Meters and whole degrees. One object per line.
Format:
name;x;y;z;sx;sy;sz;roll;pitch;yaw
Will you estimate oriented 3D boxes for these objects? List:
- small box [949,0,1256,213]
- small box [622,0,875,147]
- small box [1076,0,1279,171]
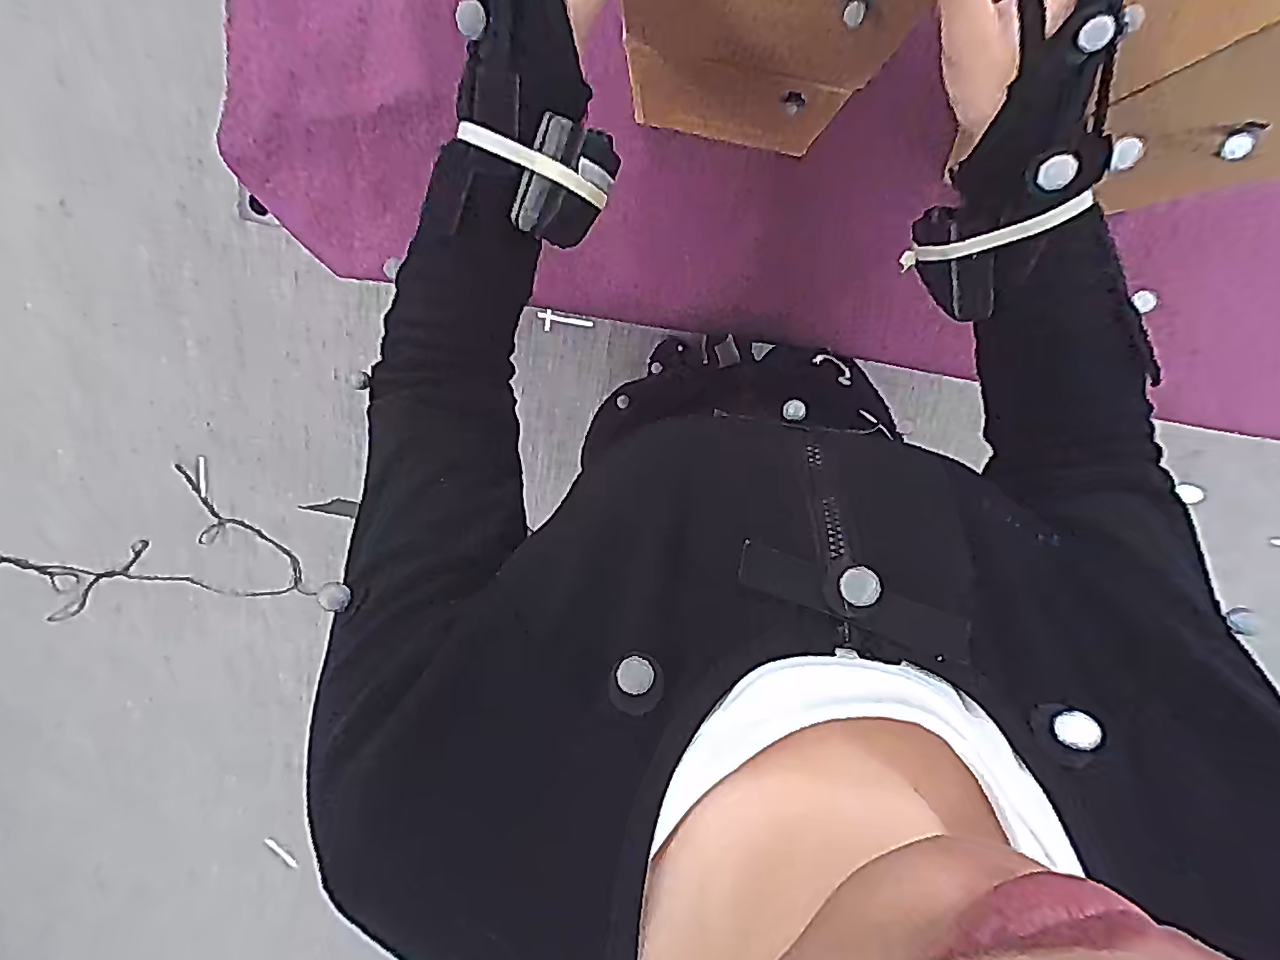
small box;0.398;-0.347;0.450;0.168;0.176;0.179;13;106;-2
small box;0.089;-0.403;0.447;0.179;0.176;0.168;11;106;-2
small box;0.397;-0.299;0.292;0.168;0.176;0.179;12;106;-1
